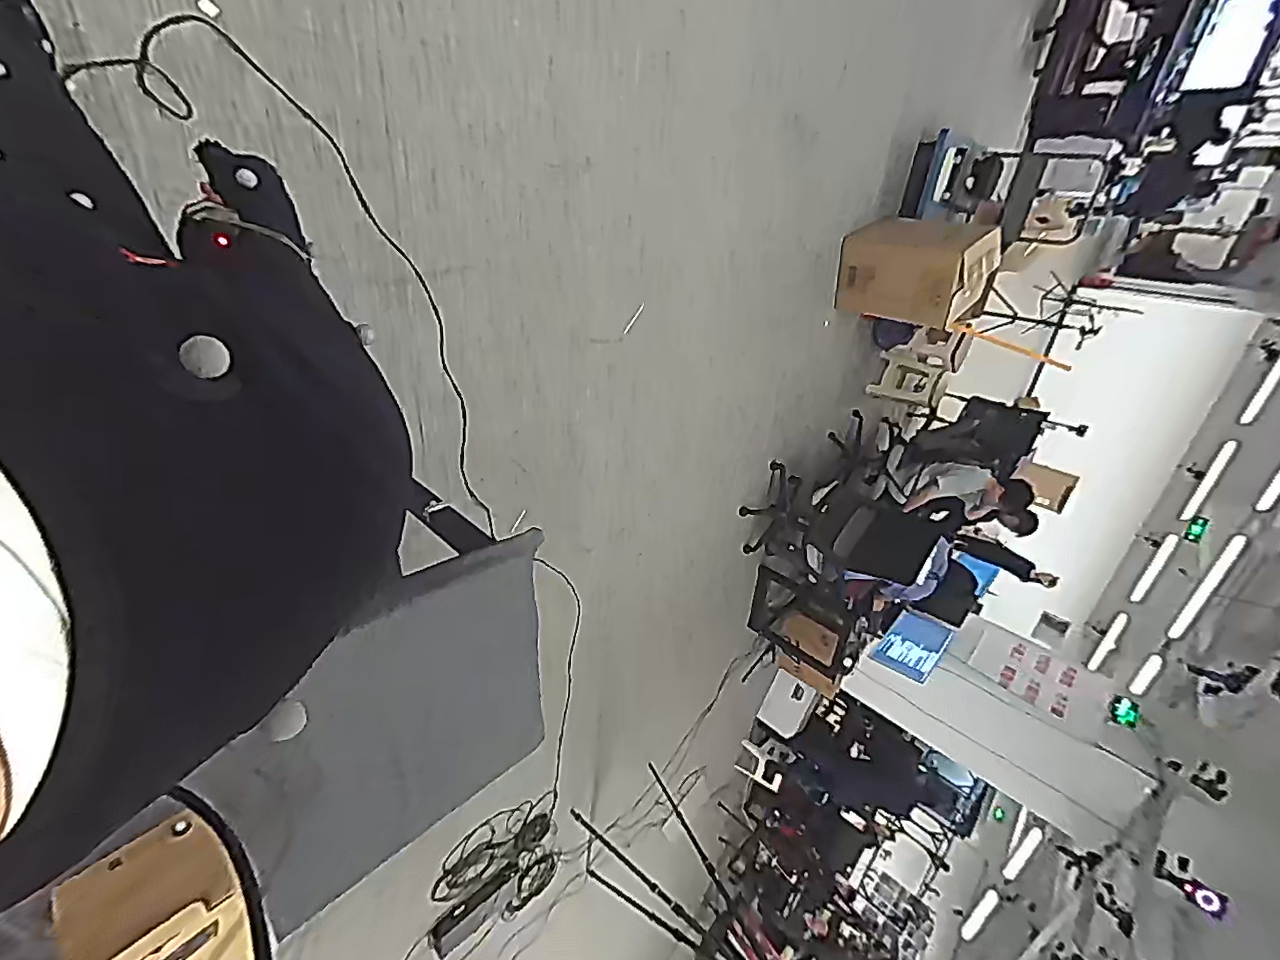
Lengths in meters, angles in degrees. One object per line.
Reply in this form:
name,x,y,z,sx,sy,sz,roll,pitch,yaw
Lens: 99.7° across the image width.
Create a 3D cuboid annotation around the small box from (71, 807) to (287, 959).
small box,-0.624,0.593,0.738,0.168,0.176,0.179,-27,132,-38
